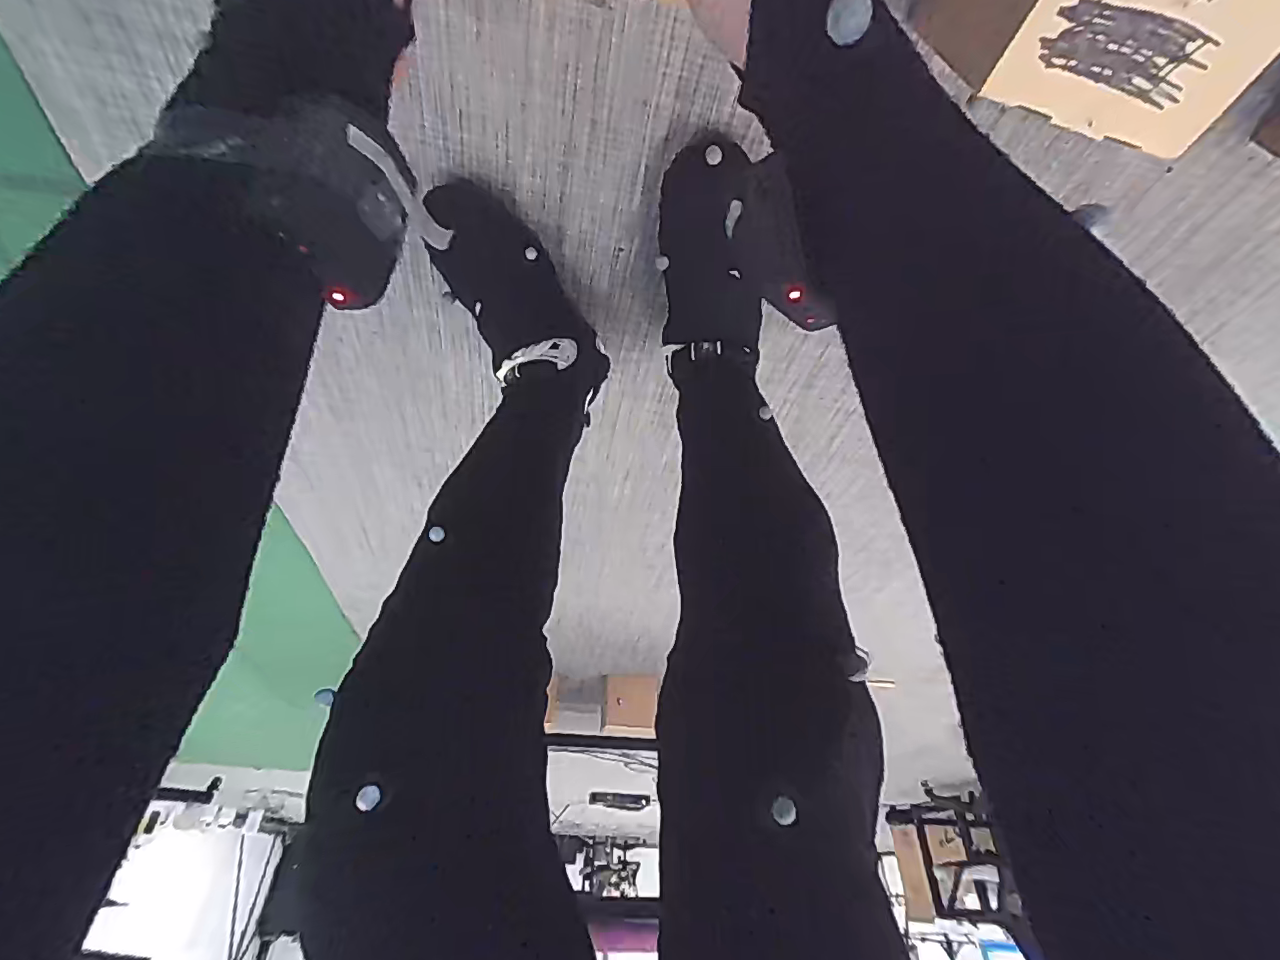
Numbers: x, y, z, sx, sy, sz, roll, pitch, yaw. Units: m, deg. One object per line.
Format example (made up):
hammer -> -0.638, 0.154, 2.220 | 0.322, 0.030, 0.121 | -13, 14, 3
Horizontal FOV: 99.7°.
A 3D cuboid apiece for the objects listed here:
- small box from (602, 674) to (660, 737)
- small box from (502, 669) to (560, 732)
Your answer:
small box -> -0.031, 0.792, 1.899 | 0.179, 0.176, 0.168 | 7, 144, -8
small box -> -0.372, 0.763, 1.872 | 0.179, 0.176, 0.168 | 5, 143, -5
